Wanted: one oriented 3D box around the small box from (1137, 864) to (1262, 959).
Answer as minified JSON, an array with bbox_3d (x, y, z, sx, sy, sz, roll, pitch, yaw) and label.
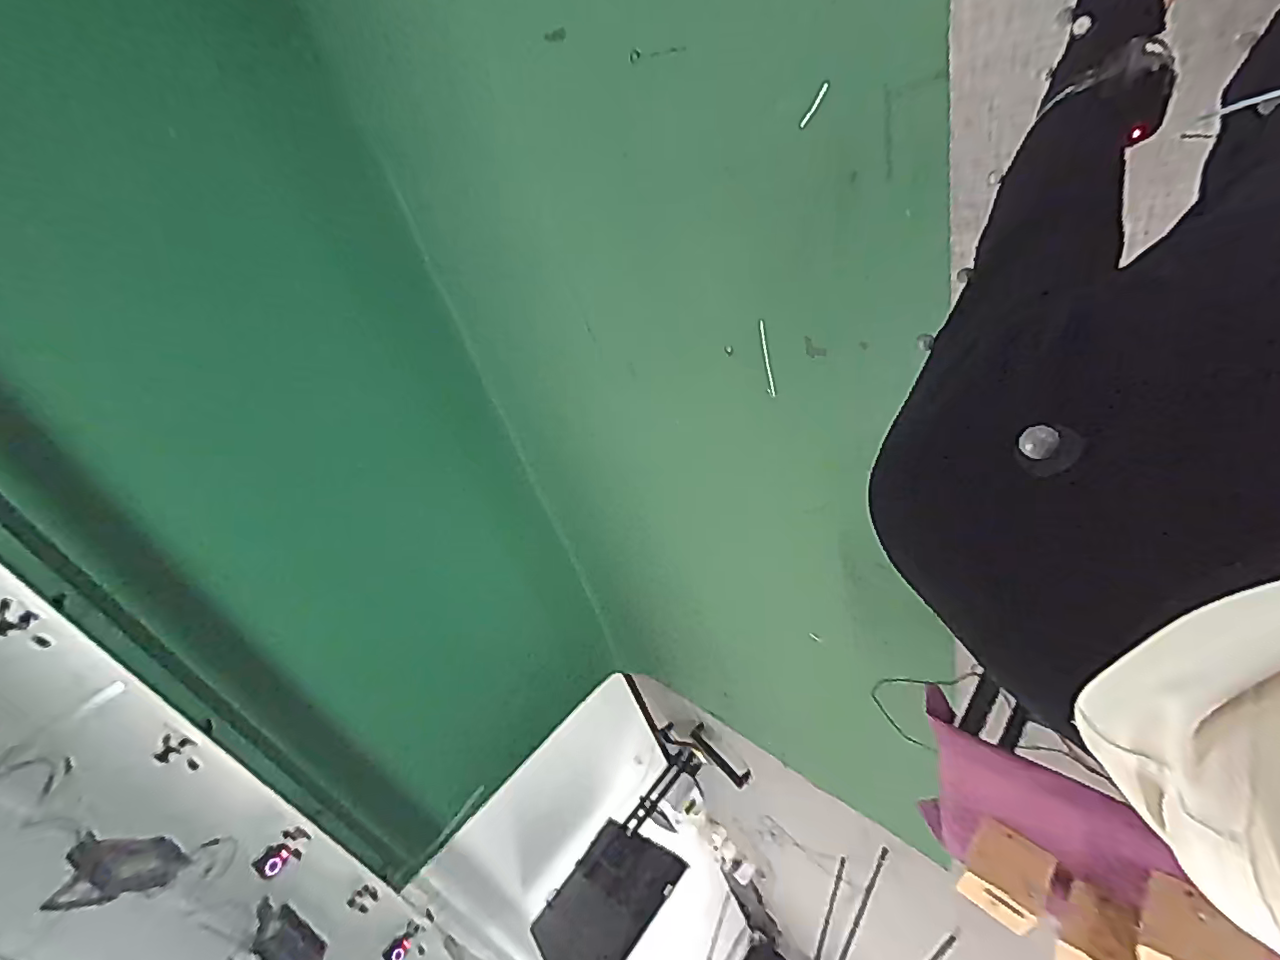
[{"bbox_3d":[1.169,0.965,1.130,0.168,0.176,0.179,4,128,51],"label":"small box"}]
